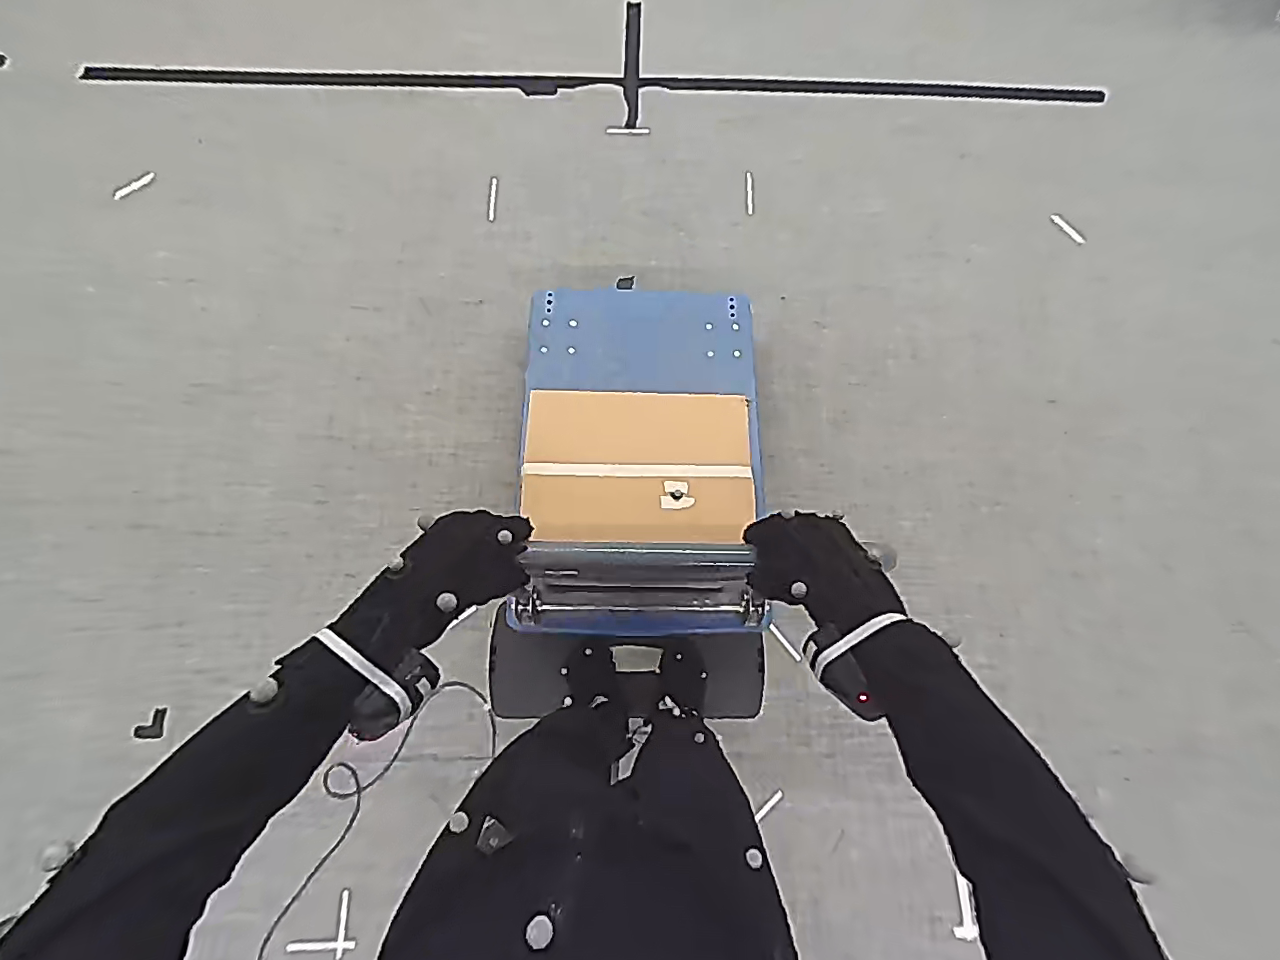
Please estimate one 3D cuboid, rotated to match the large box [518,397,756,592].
[{"bbox_3d":[-0.013,0.047,1.083,0.408,0.320,0.320,2,71,-3],"label":"large box"}]
